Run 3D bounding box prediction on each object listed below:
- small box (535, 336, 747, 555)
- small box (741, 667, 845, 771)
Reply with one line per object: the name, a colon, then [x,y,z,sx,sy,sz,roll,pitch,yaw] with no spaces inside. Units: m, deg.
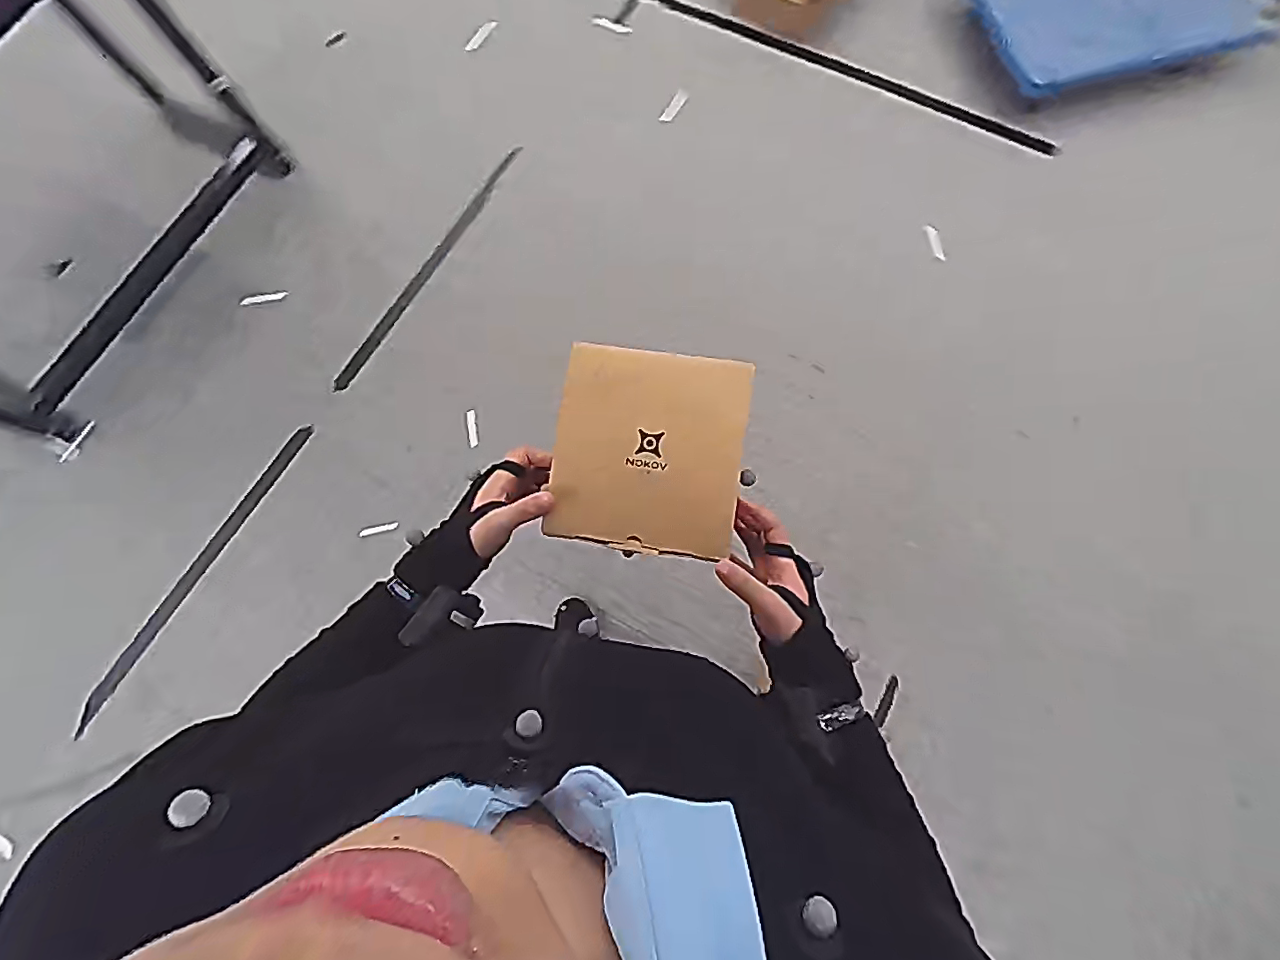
small box: [0.006,-0.024,0.543,0.168,0.176,0.179,7,85,5]
small box: [0.368,0.577,1.333,0.179,0.176,0.168,27,78,8]
